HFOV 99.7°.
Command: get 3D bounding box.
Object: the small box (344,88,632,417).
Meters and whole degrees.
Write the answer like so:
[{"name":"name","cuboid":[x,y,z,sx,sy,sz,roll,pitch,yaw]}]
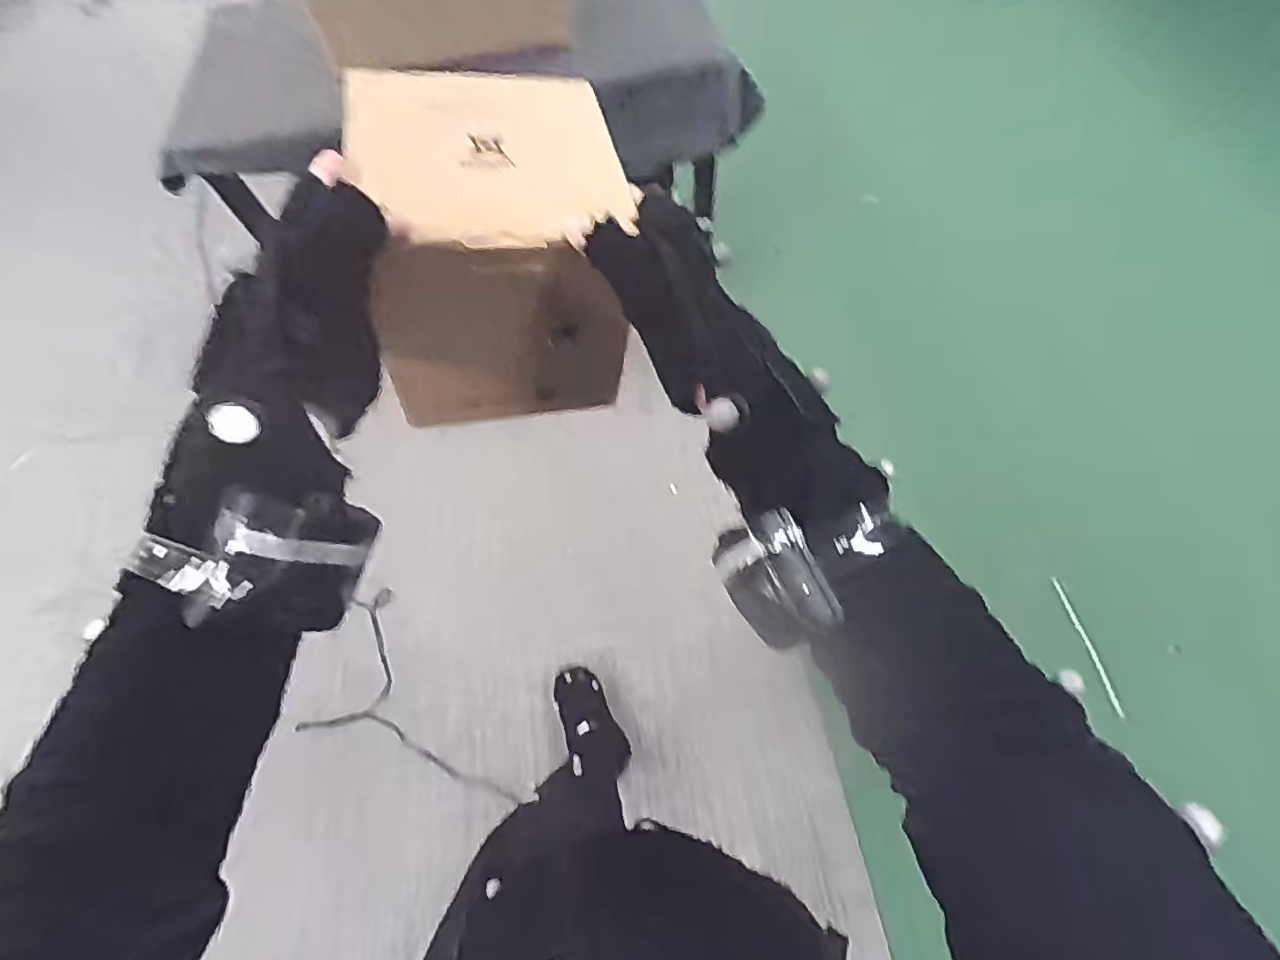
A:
[{"name":"small box","cuboid":[-0.113,-0.162,0.416,0.168,0.176,0.179,-8,60,-16]}]
